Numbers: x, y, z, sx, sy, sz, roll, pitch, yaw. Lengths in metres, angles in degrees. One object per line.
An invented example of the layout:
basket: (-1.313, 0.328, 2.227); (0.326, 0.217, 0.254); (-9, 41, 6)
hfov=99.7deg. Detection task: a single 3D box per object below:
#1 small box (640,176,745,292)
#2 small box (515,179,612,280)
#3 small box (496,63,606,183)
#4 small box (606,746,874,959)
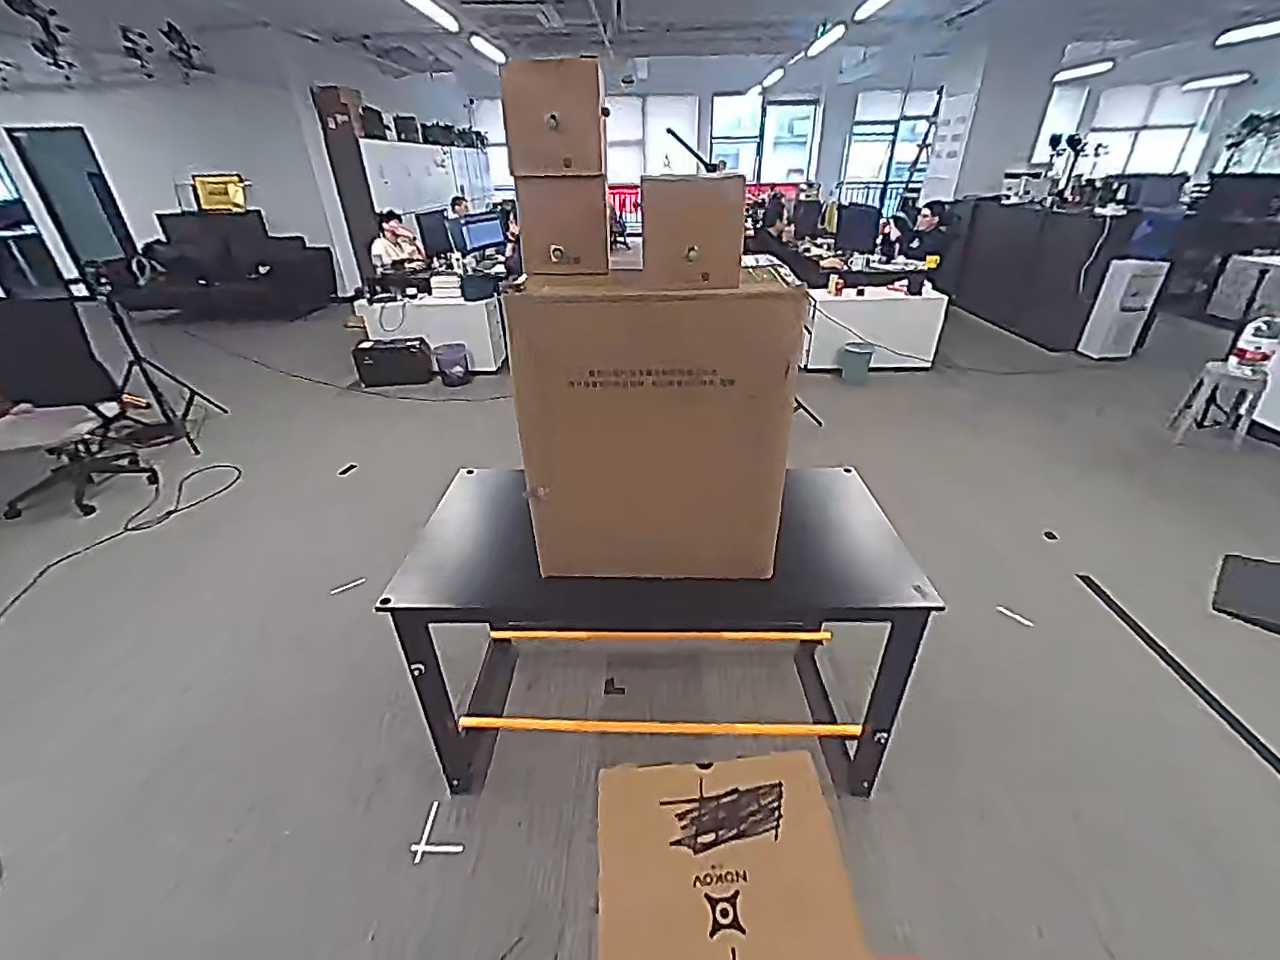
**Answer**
small box: (0.085, -0.434, 0.951); (0.168, 0.176, 0.179); (-2, 31, 1)
small box: (-0.144, -0.499, 1.073); (0.168, 0.176, 0.179); (-3, 31, -1)
small box: (-0.149, -0.634, 0.978); (0.168, 0.176, 0.179); (-1, 30, 0)
small box: (0.063, 0.333, 0.411); (0.168, 0.176, 0.179); (-6, 40, 0)
